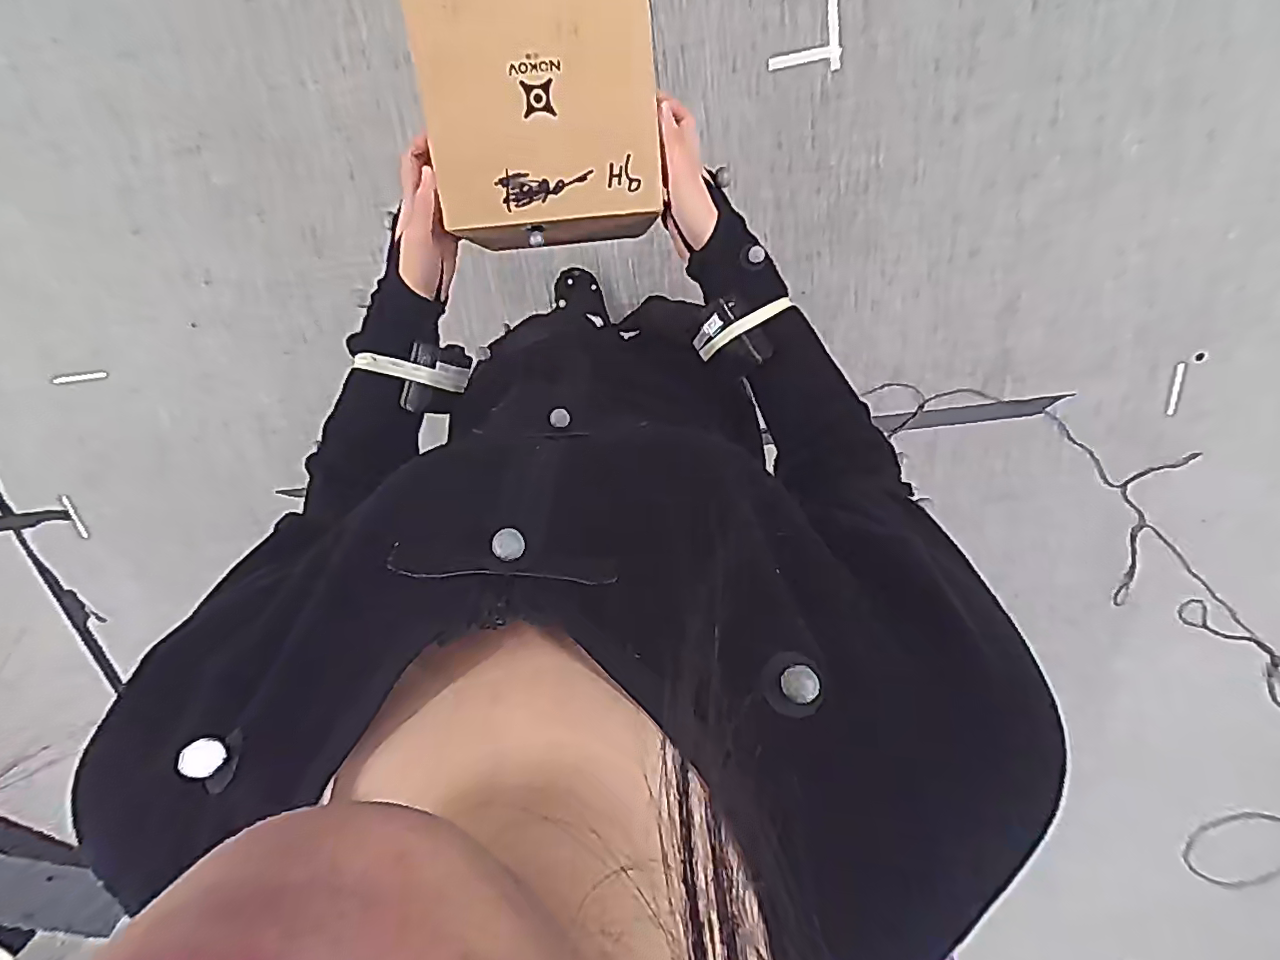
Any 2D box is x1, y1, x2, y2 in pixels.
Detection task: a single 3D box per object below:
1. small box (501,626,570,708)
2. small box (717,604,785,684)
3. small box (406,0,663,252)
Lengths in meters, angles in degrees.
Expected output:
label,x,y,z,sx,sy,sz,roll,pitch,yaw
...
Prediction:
label,x,y,z,sx,sy,sz,roll,pitch,yaw
small box,-0.322,0.577,1.686,0.179,0.176,0.168,8,110,-4
small box,0.334,0.495,1.649,0.179,0.176,0.168,-5,110,3
small box,-0.077,-0.298,0.450,0.168,0.176,0.179,-6,108,-3
